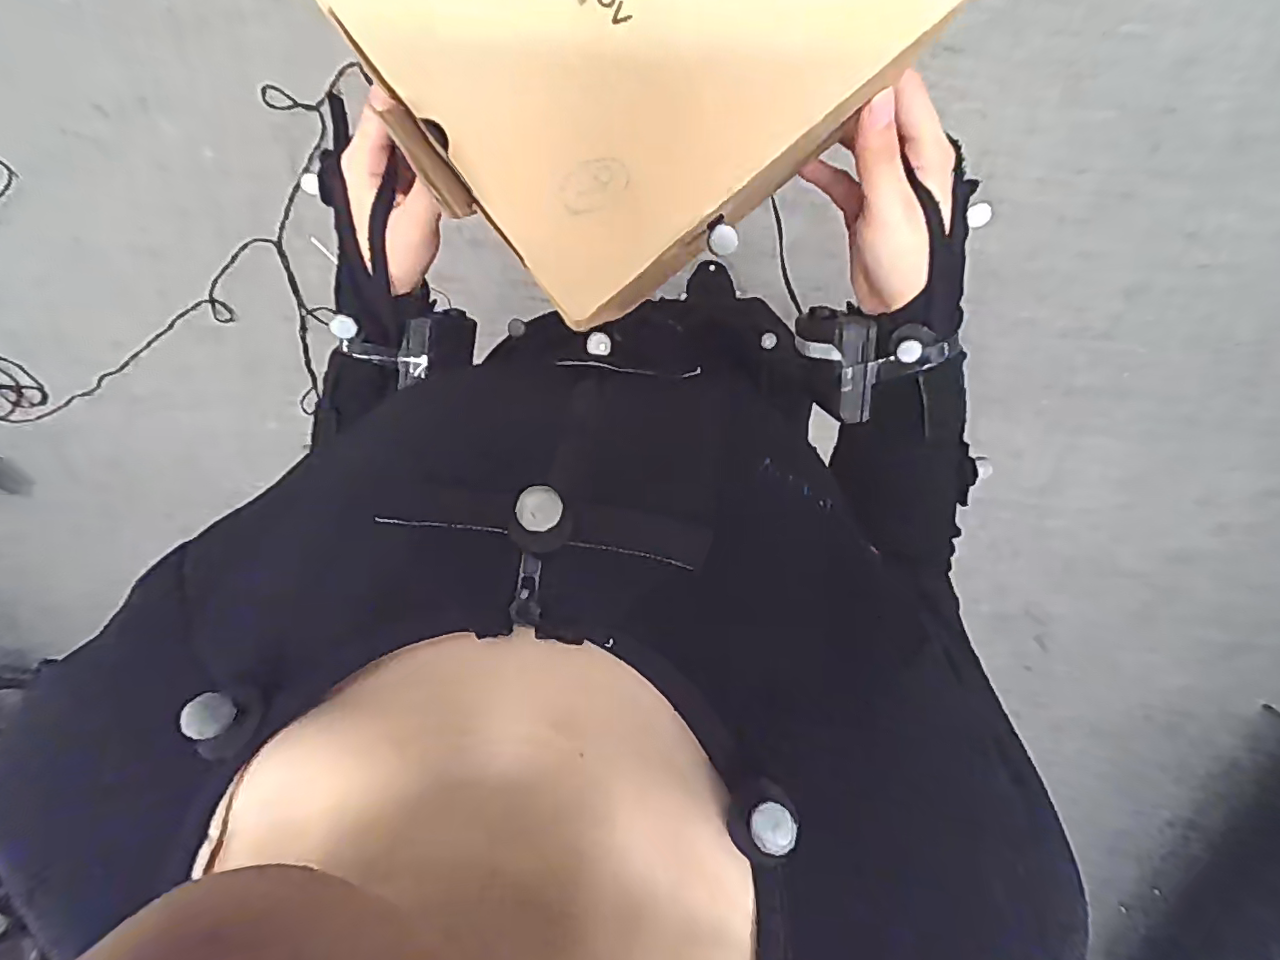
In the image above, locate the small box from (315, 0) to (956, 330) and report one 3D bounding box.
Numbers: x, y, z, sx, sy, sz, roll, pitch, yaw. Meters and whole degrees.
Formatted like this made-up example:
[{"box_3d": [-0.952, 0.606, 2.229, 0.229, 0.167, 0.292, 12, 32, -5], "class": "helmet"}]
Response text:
[{"box_3d": [0.000, -0.196, 0.265, 0.179, 0.176, 0.168, -36, 102, 16], "class": "small box"}]
